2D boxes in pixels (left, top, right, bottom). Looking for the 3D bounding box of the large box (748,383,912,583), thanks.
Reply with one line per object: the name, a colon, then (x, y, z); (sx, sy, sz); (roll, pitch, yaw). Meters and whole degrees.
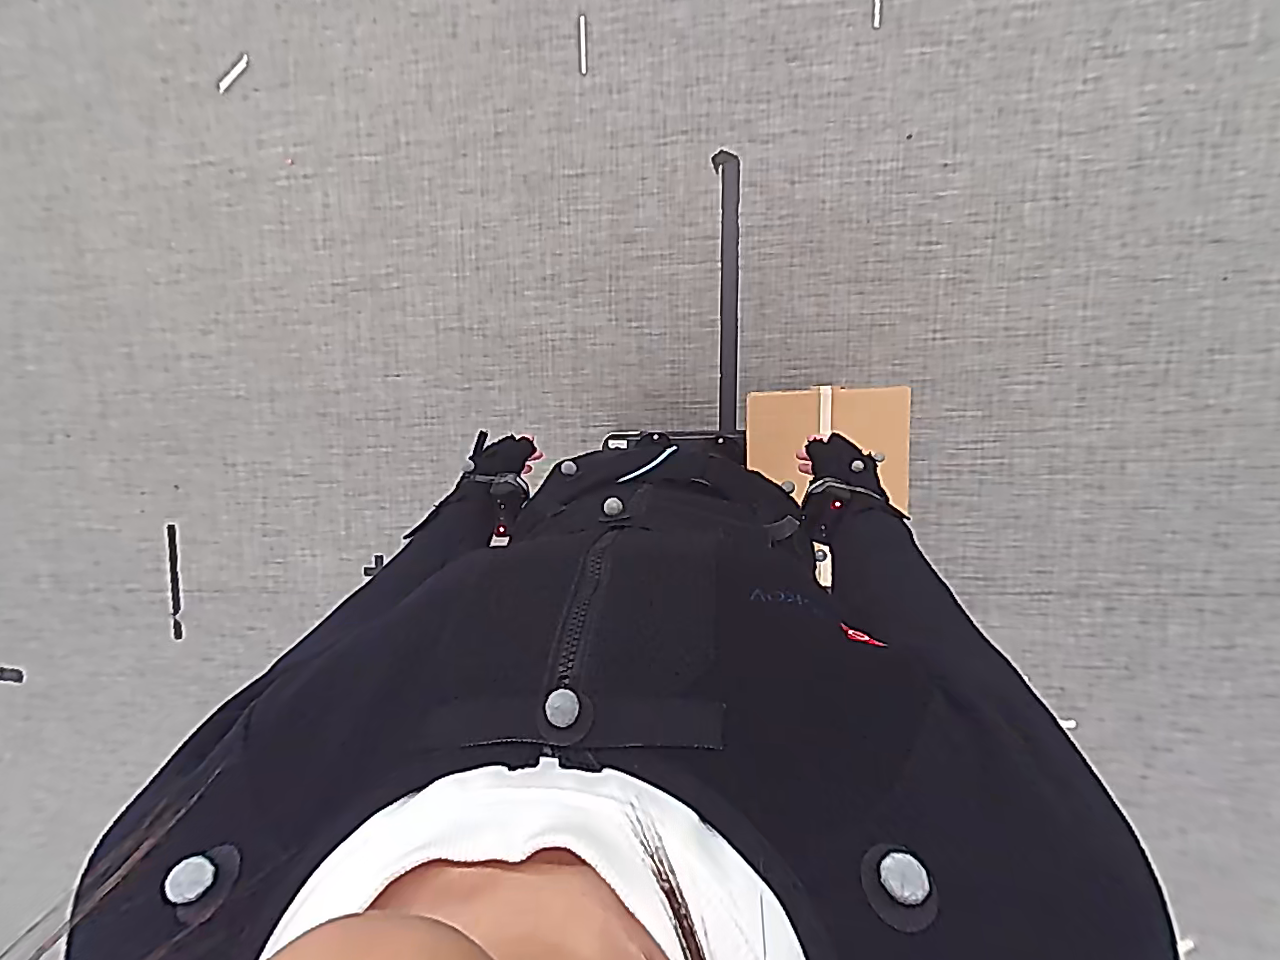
large box: (0.415, -0.006, 1.242); (0.320, 0.320, 0.408); (0, 97, 13)
